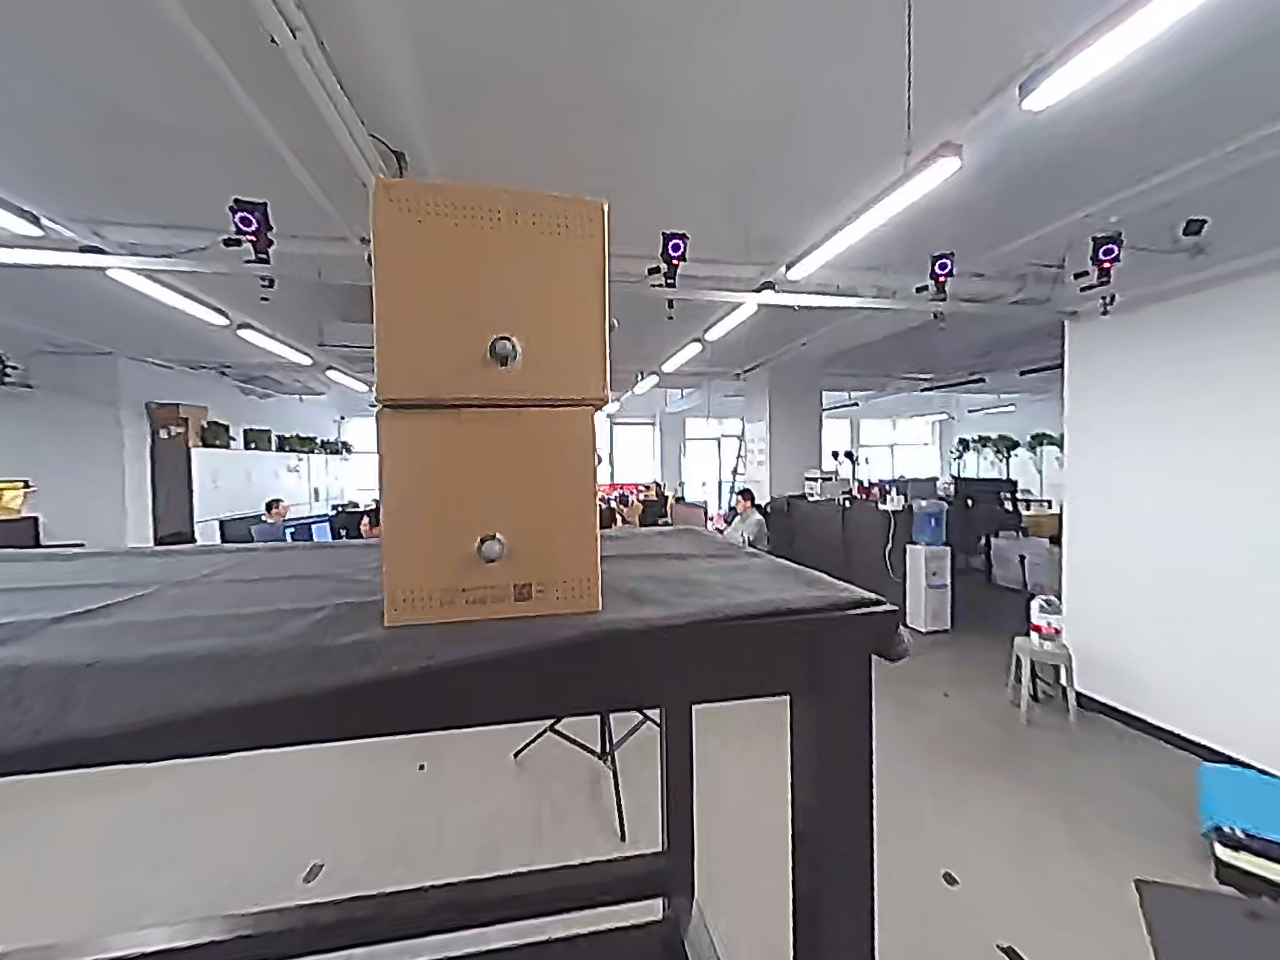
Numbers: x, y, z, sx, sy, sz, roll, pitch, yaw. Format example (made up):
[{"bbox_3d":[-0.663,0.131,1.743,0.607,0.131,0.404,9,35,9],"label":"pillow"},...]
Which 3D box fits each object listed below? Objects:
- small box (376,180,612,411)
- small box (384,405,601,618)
[{"bbox_3d":[-0.127,-0.143,0.488,0.179,0.176,0.168,-1,0,-14],"label":"small box"},{"bbox_3d":[-0.126,0.024,0.503,0.168,0.176,0.179,-3,1,-10],"label":"small box"}]
